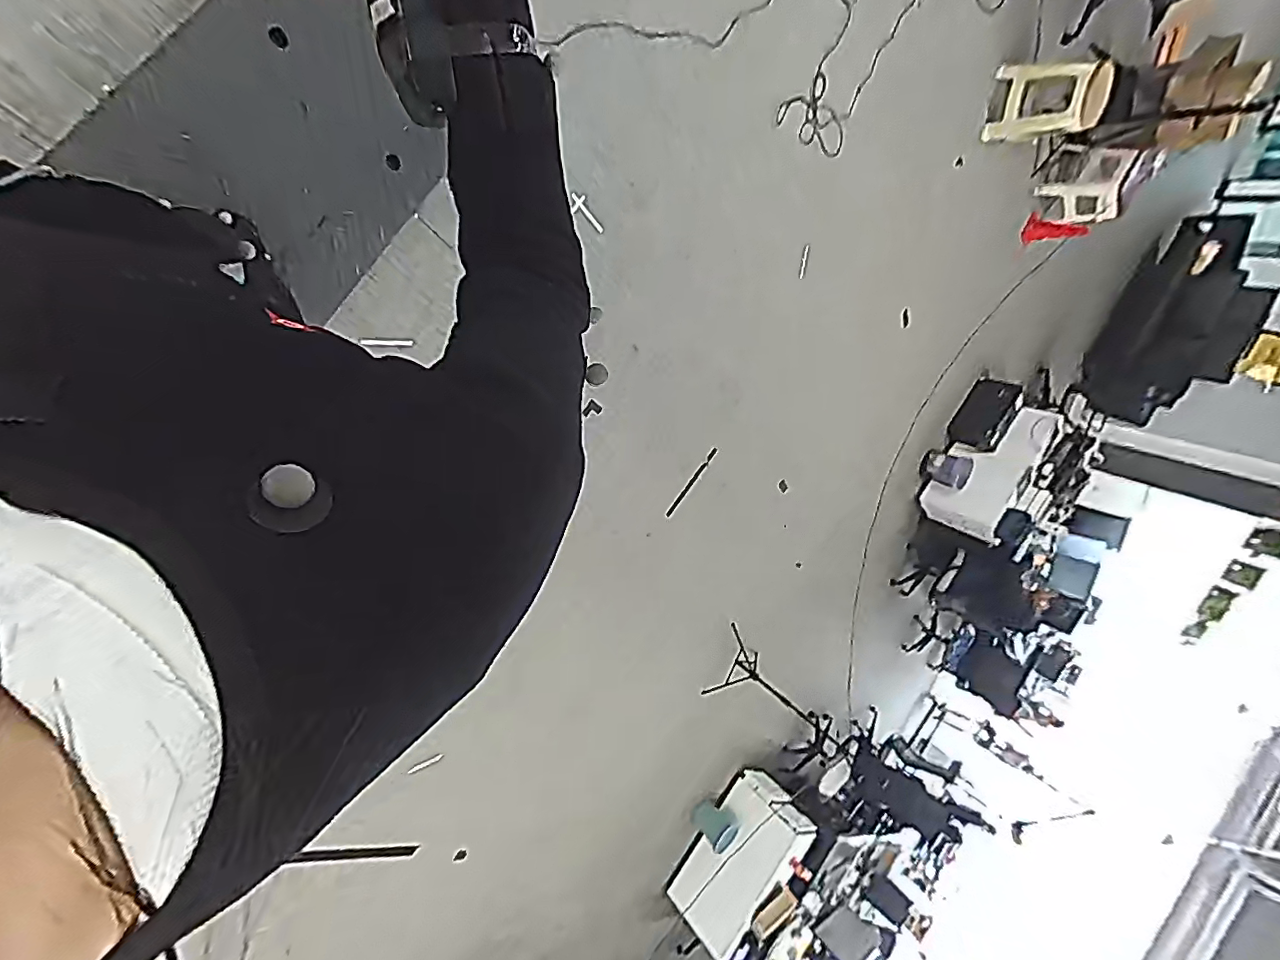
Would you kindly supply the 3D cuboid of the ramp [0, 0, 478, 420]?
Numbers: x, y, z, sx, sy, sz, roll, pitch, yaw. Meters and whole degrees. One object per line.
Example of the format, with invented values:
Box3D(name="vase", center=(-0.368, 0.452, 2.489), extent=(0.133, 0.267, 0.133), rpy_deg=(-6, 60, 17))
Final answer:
Box3D(name="ramp", center=(-0.791, -0.669, 1.165), extent=(0.991, 0.206, 0.509), rpy_deg=(-55, 135, -6))
